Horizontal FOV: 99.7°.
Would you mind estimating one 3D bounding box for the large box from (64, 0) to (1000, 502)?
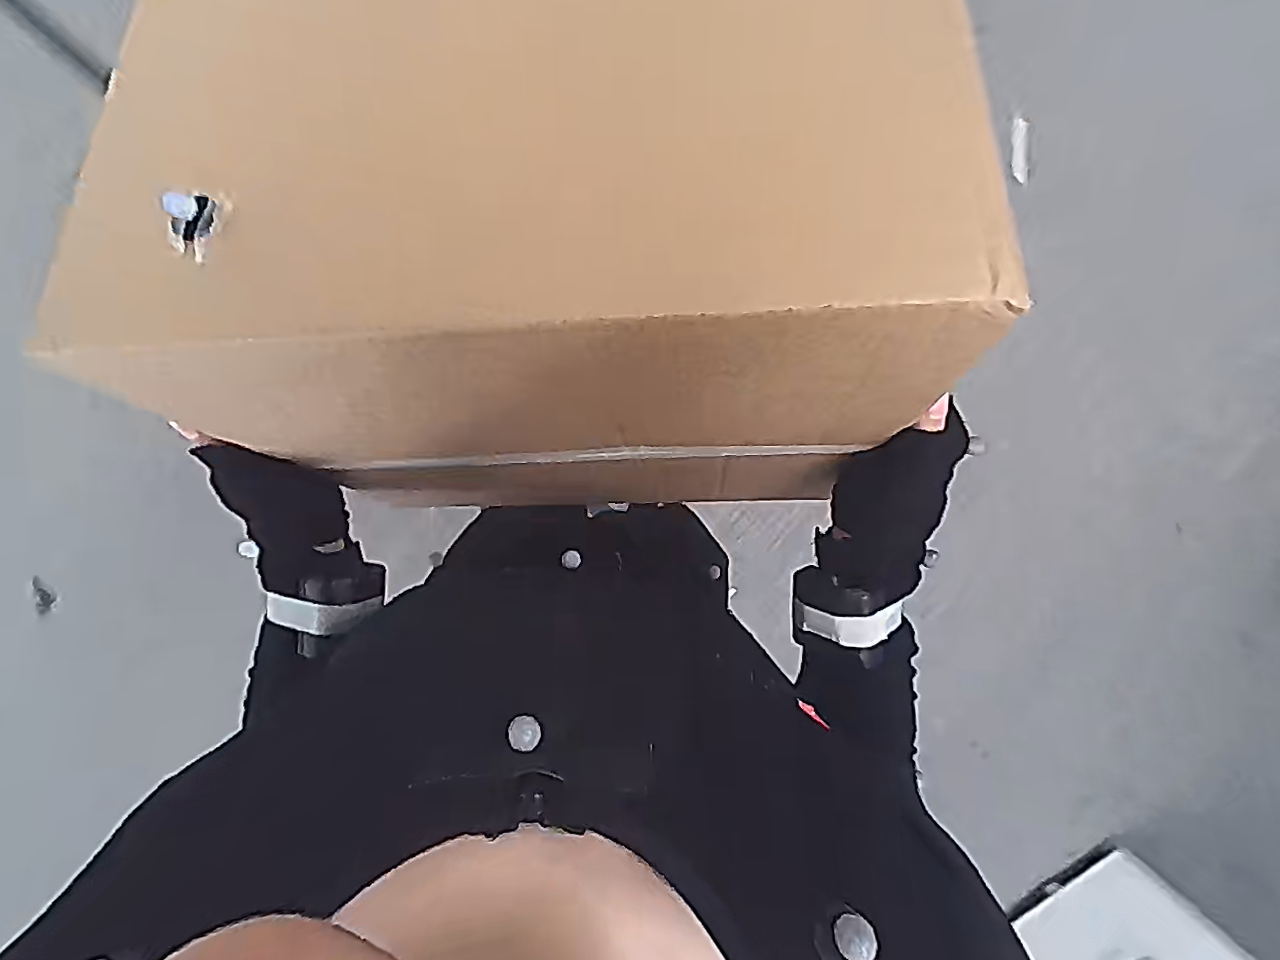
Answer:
[{"bbox_3d":[-0.052,-0.174,0.402,0.408,0.320,0.320,-3,76,5],"label":"large box"}]
